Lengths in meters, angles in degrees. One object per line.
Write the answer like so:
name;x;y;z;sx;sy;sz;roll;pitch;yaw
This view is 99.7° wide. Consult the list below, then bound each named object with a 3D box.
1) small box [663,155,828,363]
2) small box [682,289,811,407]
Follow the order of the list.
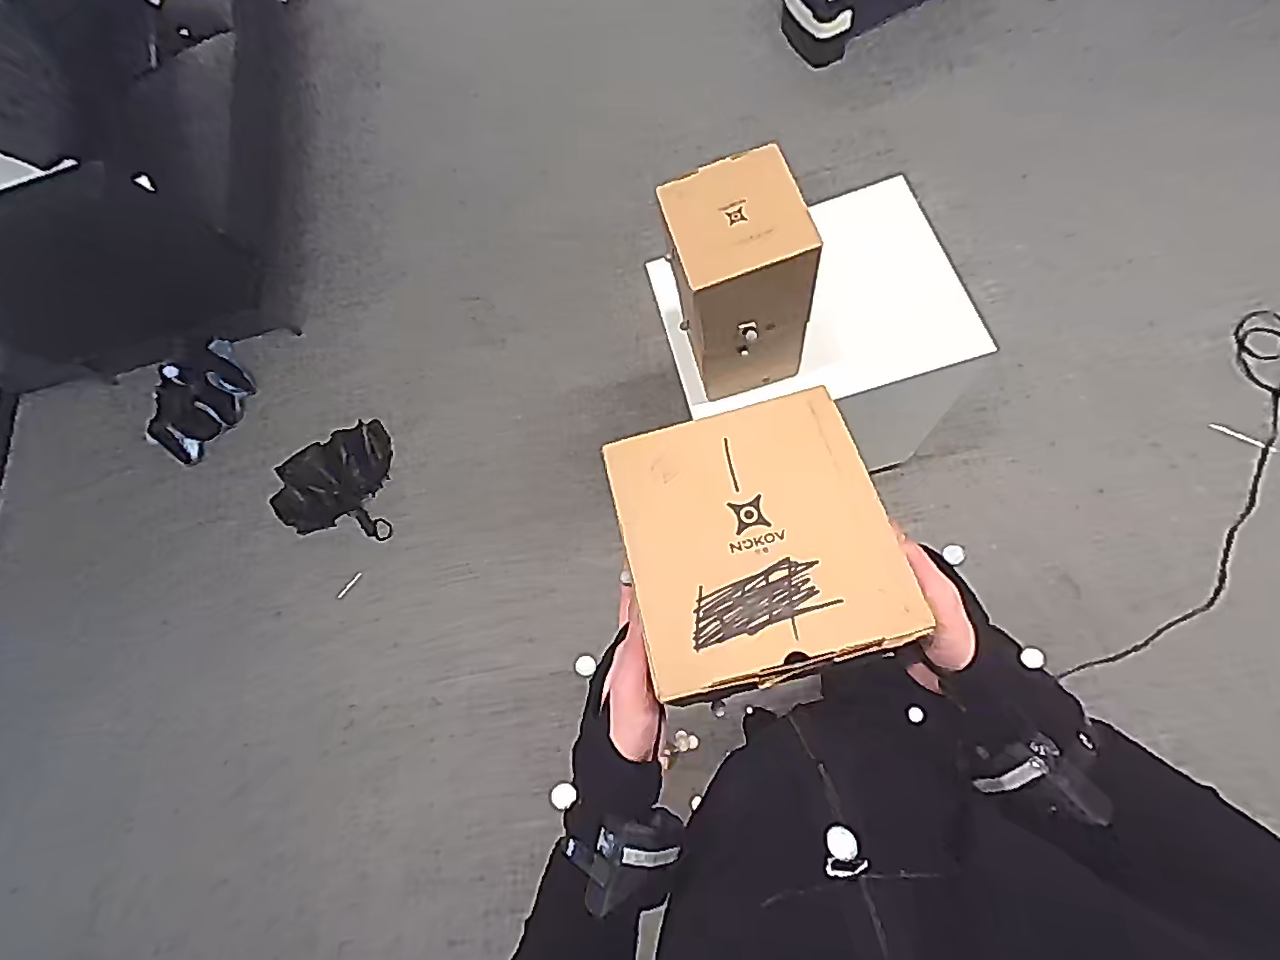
small box;0.142;-0.294;0.750;0.168;0.176;0.179;-19;71;7
small box;0.172;-0.251;0.904;0.168;0.176;0.179;-16;69;7
